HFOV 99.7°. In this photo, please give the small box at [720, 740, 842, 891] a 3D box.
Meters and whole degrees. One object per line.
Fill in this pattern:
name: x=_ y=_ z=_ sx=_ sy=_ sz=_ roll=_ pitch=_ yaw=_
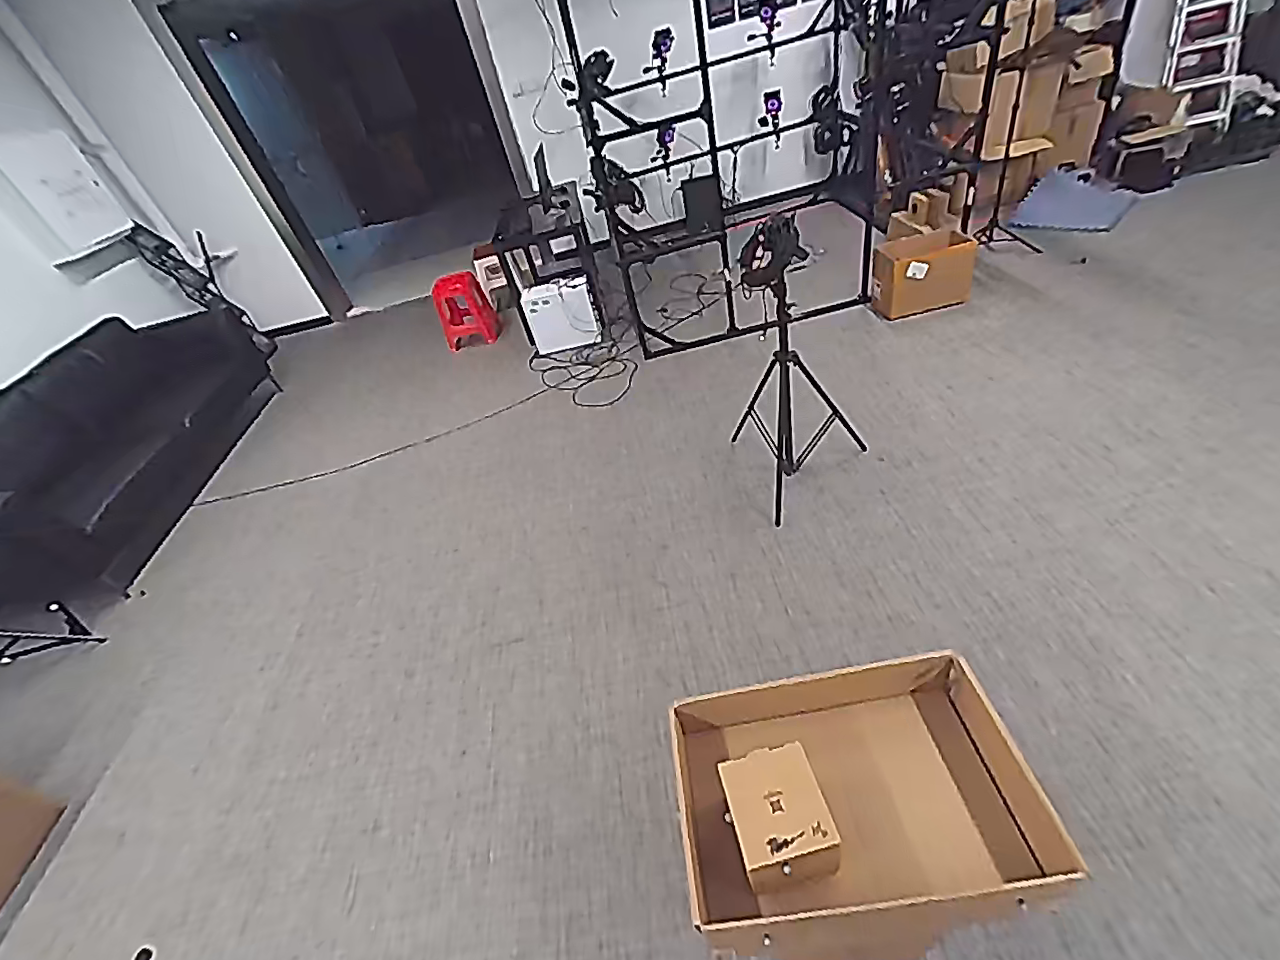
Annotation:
small box: x=0.259 y=0.625 z=1.010 sx=0.168 sy=0.176 sz=0.179 roll=-17 pitch=40 yaw=0
